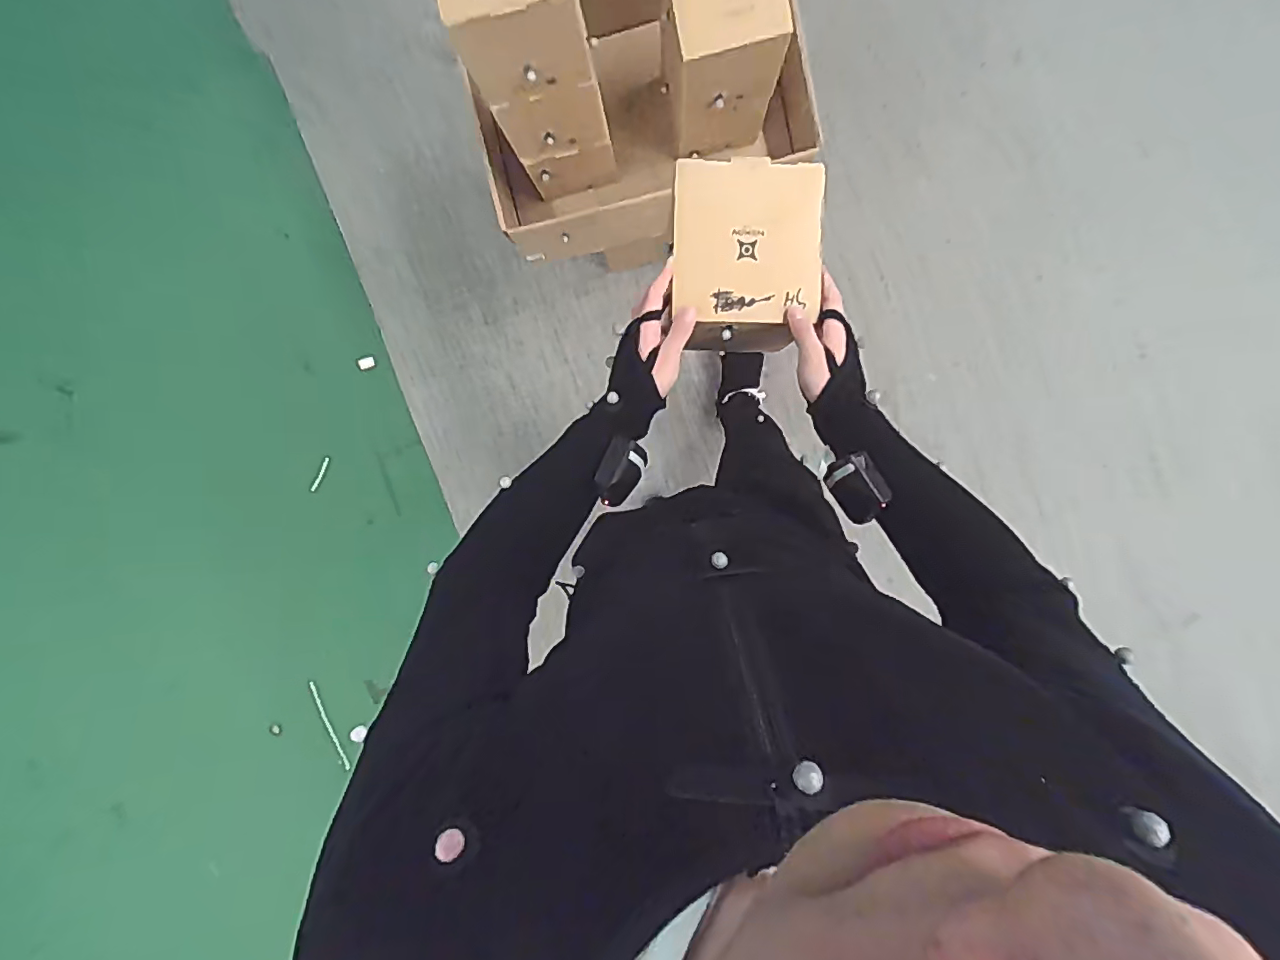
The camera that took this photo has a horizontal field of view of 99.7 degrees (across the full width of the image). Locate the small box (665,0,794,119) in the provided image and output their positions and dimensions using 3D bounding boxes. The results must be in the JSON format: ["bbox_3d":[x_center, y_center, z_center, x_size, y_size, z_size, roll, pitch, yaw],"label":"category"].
[{"bbox_3d":[0.133,-0.723,0.858,0.168,0.176,0.179,-11,96,5],"label":"small box"}]

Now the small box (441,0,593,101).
[{"bbox_3d":[-0.166,-0.655,0.717,0.168,0.176,0.179,-10,95,5],"label":"small box"}]

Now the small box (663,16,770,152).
[{"bbox_3d":[0.140,-0.745,1.019,0.168,0.176,0.179,-11,95,4],"label":"small box"}]

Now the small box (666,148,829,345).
[{"bbox_3d":[0.119,-0.273,0.668,0.168,0.176,0.179,2,94,-1],"label":"small box"}]

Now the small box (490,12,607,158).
[{"bbox_3d":[-0.155,-0.668,0.882,0.168,0.176,0.179,-11,96,4],"label":"small box"}]
